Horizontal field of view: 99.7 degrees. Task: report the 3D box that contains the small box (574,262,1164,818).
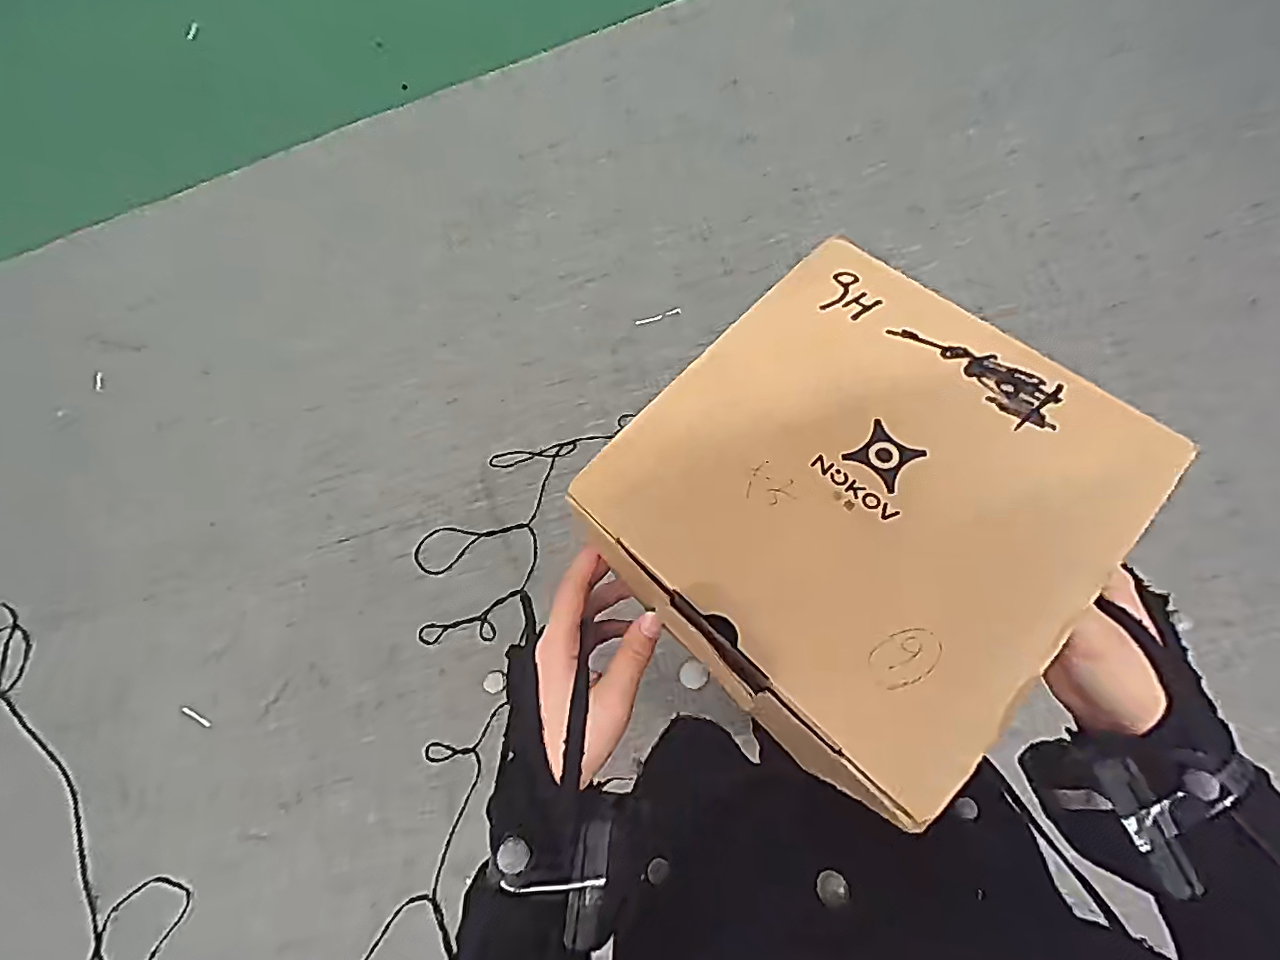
[{"bbox_3d":[0.096,0.033,0.292,0.168,0.176,0.179,41,78,19],"label":"small box"}]
